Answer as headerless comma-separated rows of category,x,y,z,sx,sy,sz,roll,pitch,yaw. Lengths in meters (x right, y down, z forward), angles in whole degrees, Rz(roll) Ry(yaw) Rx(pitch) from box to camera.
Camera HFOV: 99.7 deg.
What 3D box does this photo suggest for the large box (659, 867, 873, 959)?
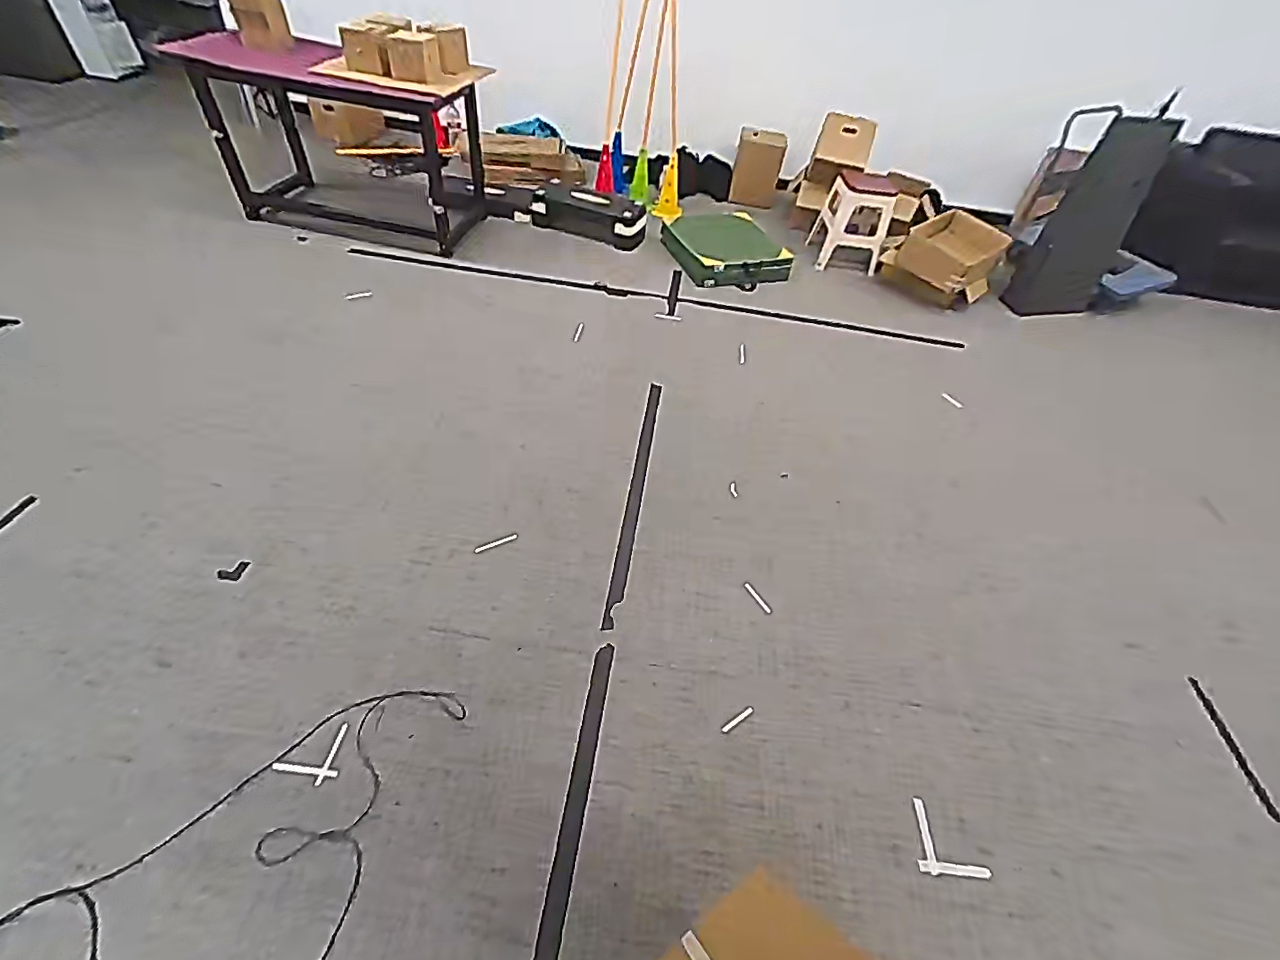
large box,0.211,0.797,0.666,0.320,0.408,0.320,-32,85,-21
